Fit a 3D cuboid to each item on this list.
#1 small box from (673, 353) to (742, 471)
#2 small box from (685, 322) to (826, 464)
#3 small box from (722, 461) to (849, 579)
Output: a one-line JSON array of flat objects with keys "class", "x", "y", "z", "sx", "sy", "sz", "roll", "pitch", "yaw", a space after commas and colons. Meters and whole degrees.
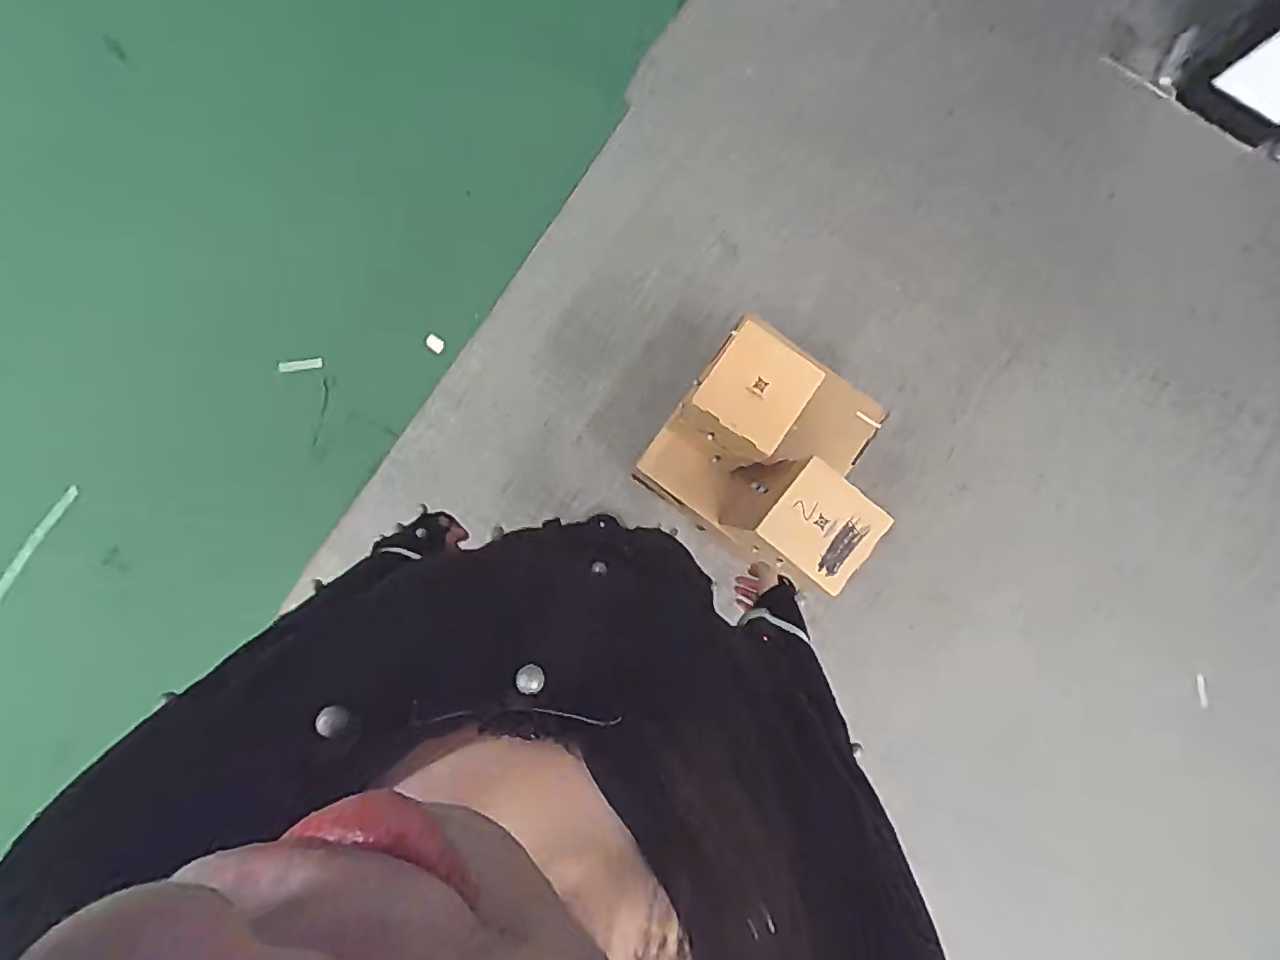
[{"class": "small box", "x": 0.184, "y": -0.137, "z": 1.147, "sx": 0.168, "sy": 0.176, "sz": 0.179, "roll": 37, "pitch": 84, "yaw": 0}, {"class": "small box", "x": 0.196, "y": -0.148, "z": 0.985, "sx": 0.168, "sy": 0.176, "sz": 0.179, "roll": 36, "pitch": 86, "yaw": 0}, {"class": "small box", "x": 0.293, "y": 0.083, "z": 1.133, "sx": 0.168, "sy": 0.176, "sz": 0.179, "roll": 39, "pitch": 84, "yaw": 0}]
